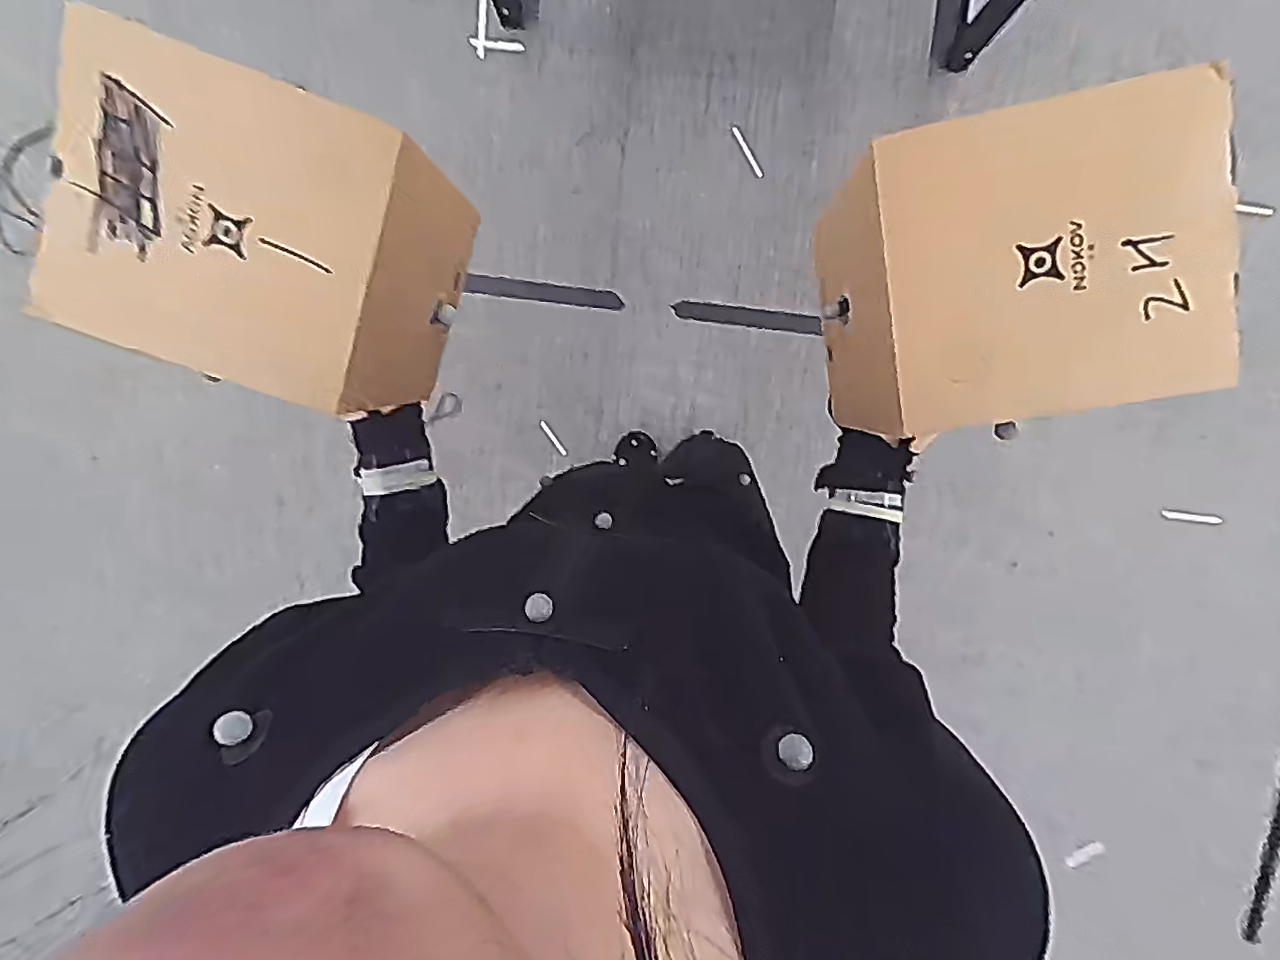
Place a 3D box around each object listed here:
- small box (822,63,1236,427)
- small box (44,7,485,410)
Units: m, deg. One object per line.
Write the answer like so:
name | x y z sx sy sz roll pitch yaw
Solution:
small box | 0.233 -0.131 0.372 0.179 0.176 0.168 -9 98 7
small box | -0.231 -0.158 0.378 0.179 0.176 0.168 19 101 -6
